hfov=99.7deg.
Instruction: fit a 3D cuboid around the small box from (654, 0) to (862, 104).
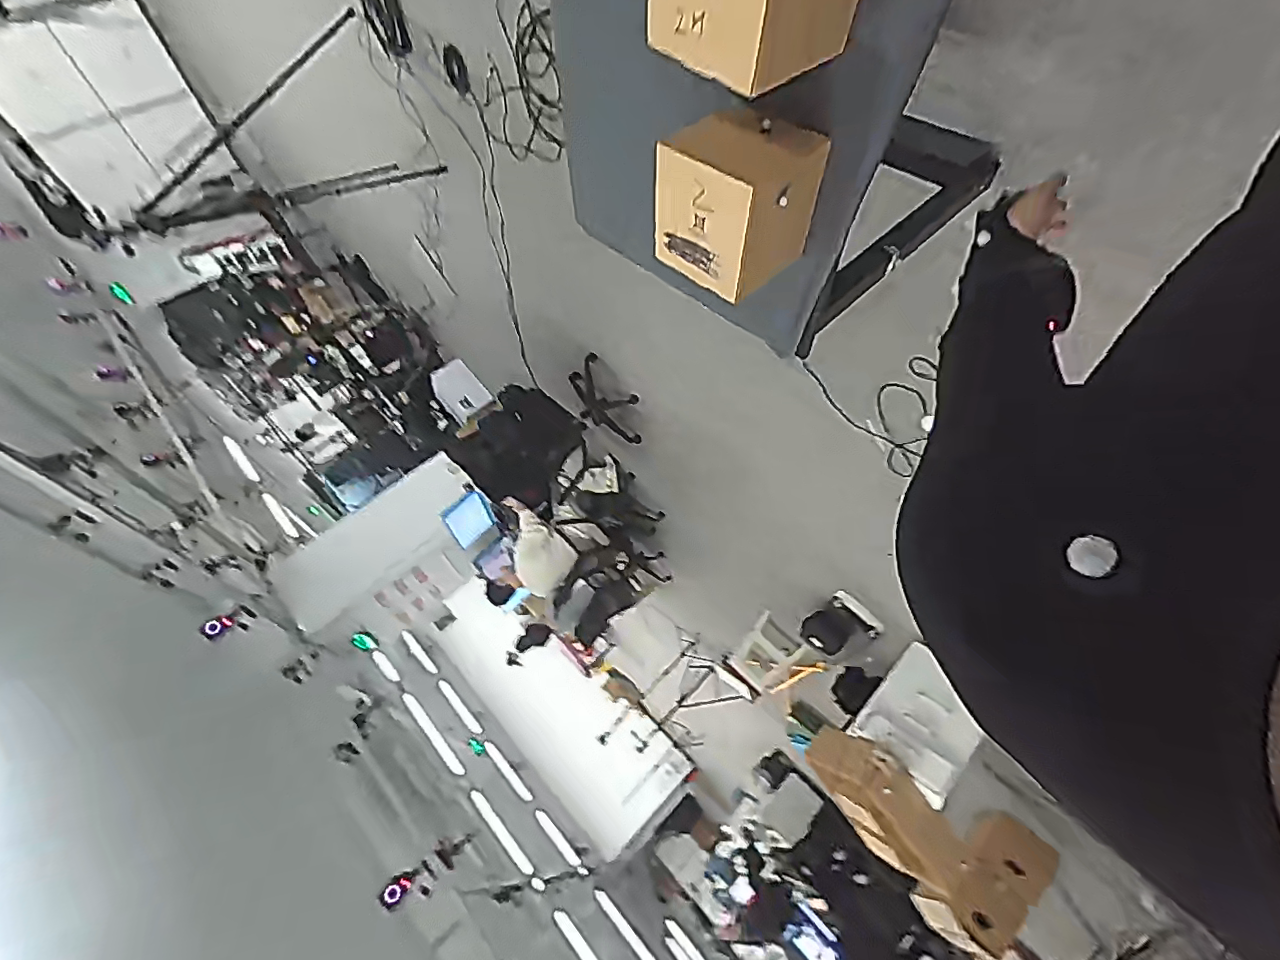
[{"bbox_3d":[0.134,-0.550,0.571,0.168,0.176,0.179,44,159,21],"label":"small box"}]
